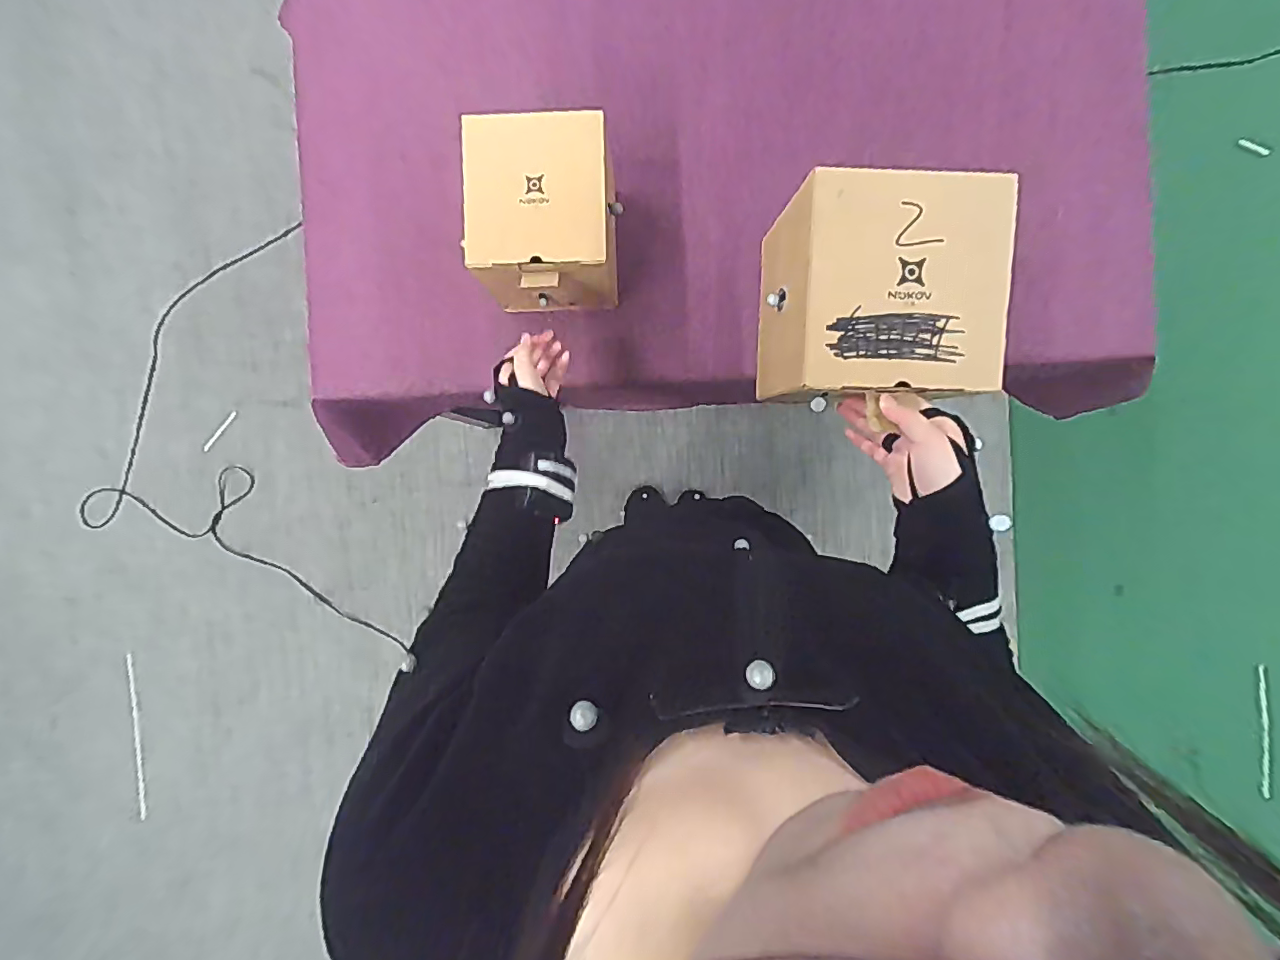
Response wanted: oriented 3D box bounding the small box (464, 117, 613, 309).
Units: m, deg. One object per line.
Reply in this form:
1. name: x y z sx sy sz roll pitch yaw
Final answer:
1. small box: -0.125 -0.339 0.714 0.168 0.176 0.179 -1 91 1
